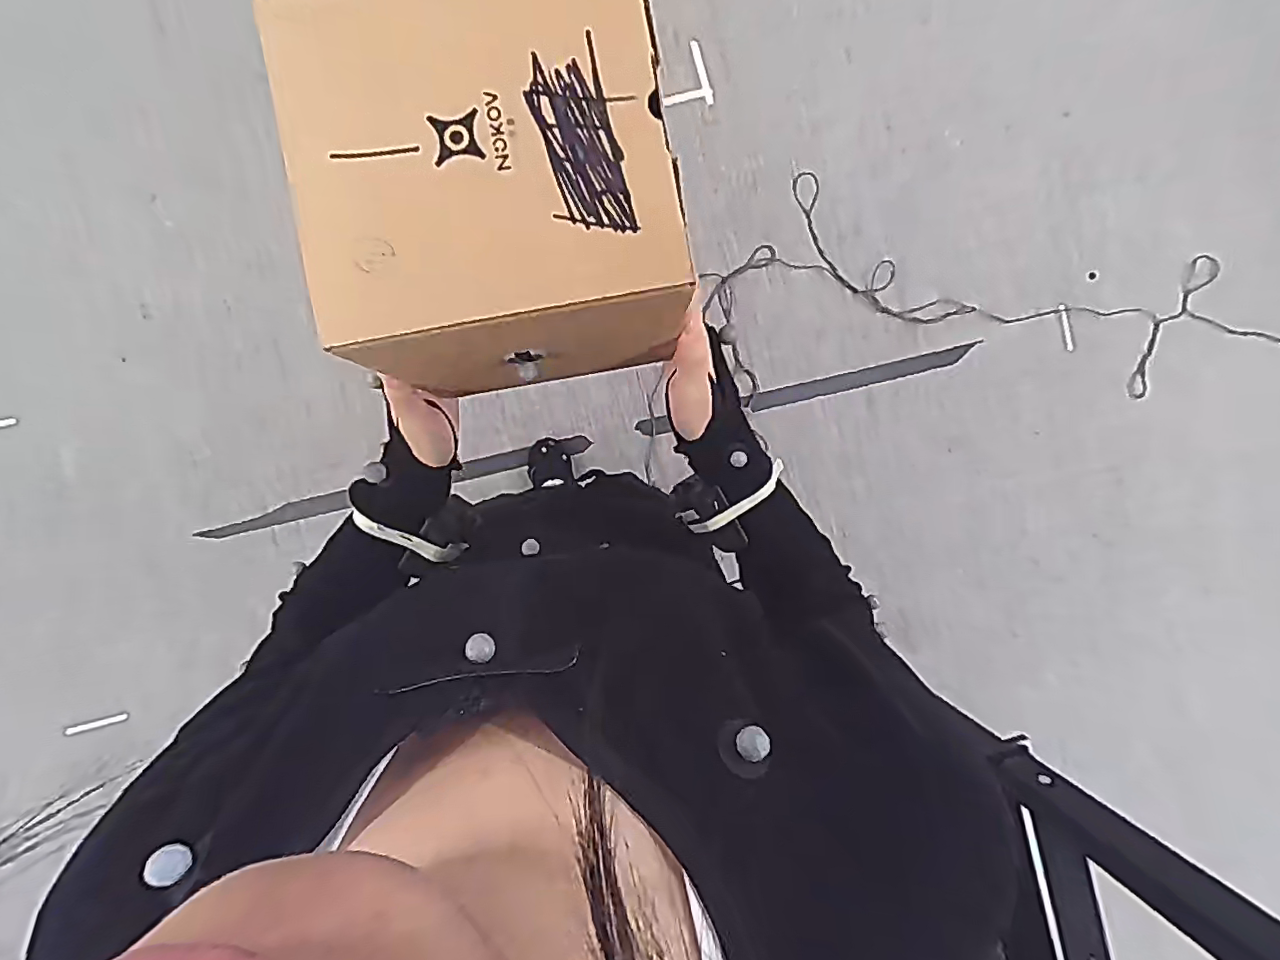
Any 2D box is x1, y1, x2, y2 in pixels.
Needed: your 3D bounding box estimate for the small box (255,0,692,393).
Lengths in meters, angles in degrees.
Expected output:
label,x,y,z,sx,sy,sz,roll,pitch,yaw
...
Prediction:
label,x,y,z,sx,sy,sz,roll,pitch,yaw
small box,-0.074,-0.155,0.323,0.179,0.176,0.168,-10,91,1
